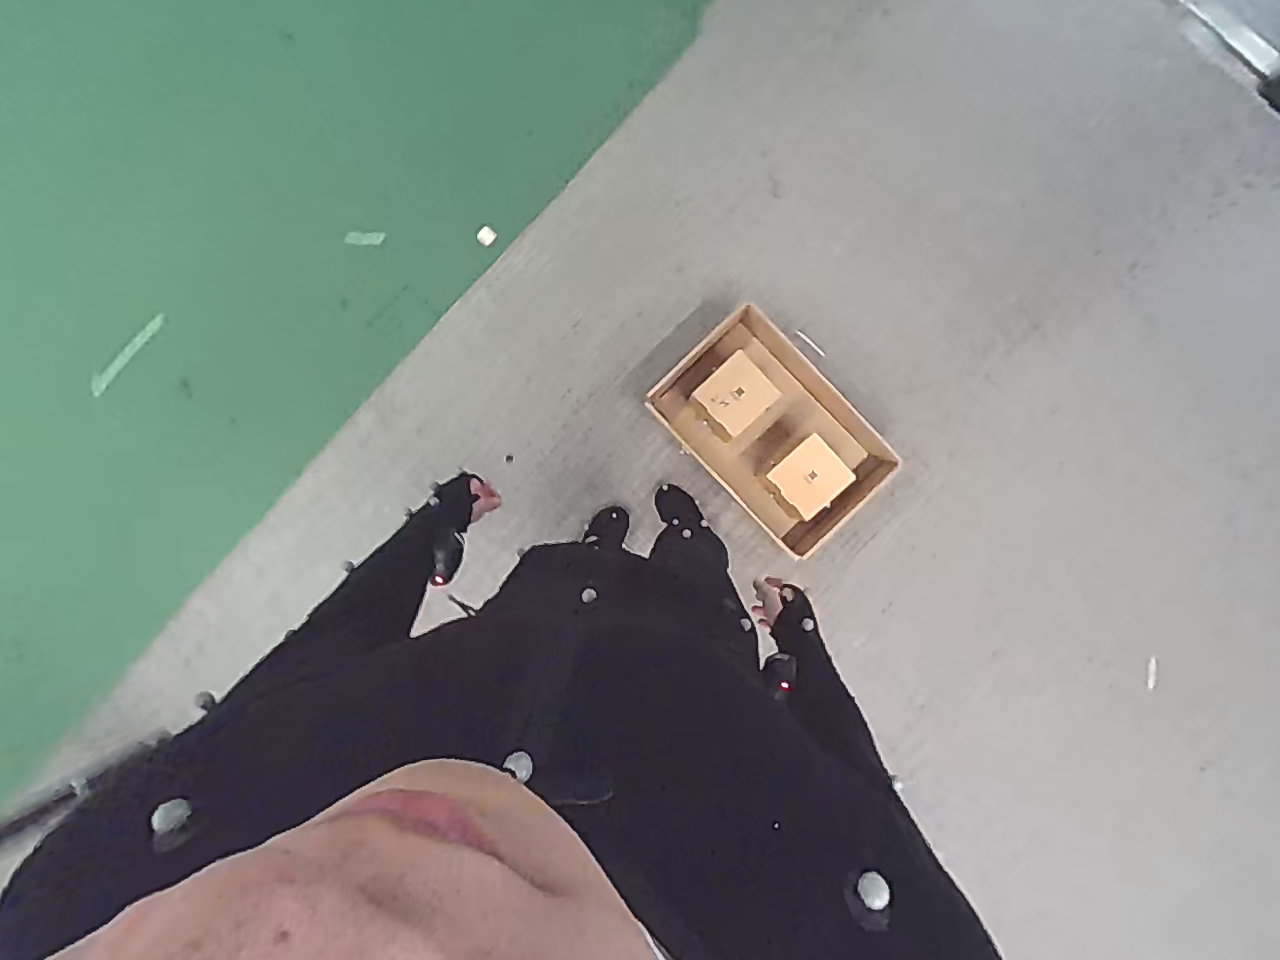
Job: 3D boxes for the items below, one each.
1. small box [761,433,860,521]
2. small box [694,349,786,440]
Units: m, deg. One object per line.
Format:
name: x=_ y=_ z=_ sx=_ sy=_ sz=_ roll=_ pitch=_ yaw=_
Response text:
small box: x=0.458 y=-0.010 z=1.488 sx=0.179 sy=0.176 sz=0.168 roll=-41 pitch=89 yaw=2
small box: x=0.266 y=-0.229 z=1.490 sx=0.179 sy=0.176 sz=0.168 roll=-42 pitch=89 yaw=1
